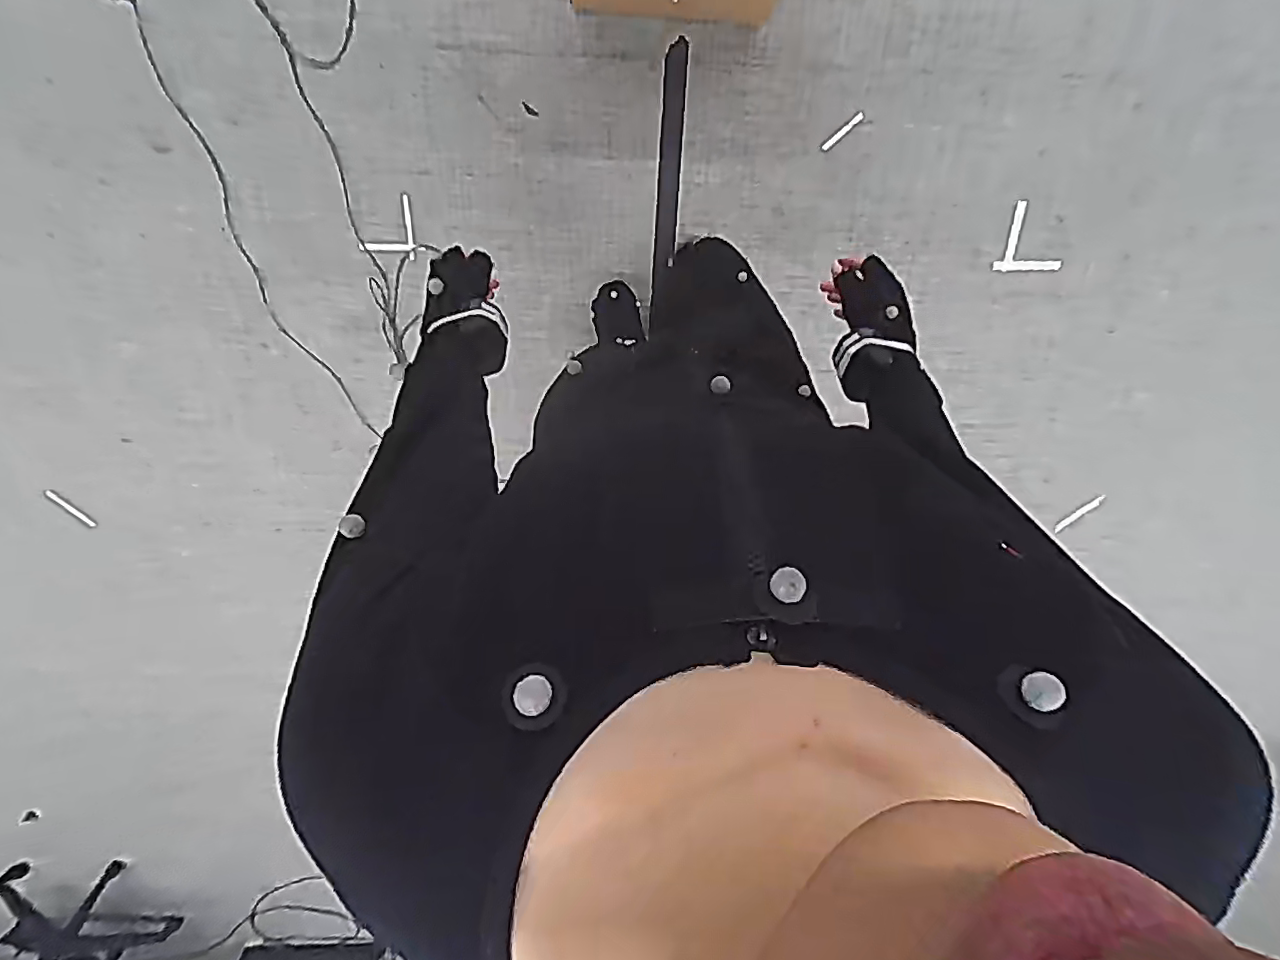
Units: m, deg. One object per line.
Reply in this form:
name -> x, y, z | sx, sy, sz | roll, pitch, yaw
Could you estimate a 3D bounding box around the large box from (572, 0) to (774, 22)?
large box -> 0.069, -1.055, 0.948 | 0.408, 0.320, 0.320 | 2, 113, -3
